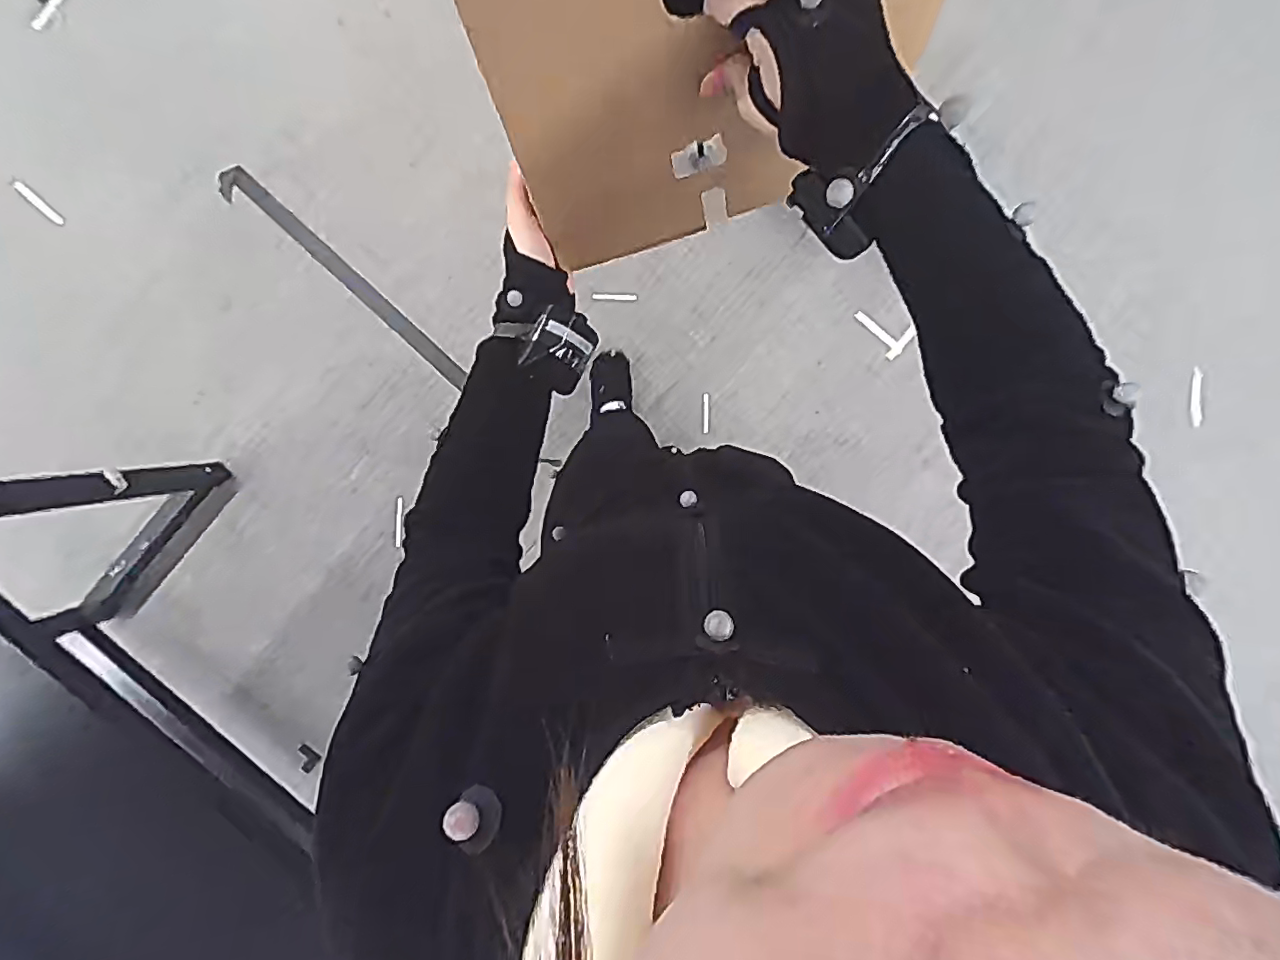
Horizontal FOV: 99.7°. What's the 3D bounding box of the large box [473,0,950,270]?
[{"bbox_3d":[0.007,-0.452,0.409,0.320,0.320,0.408,-17,75,0],"label":"large box"}]
